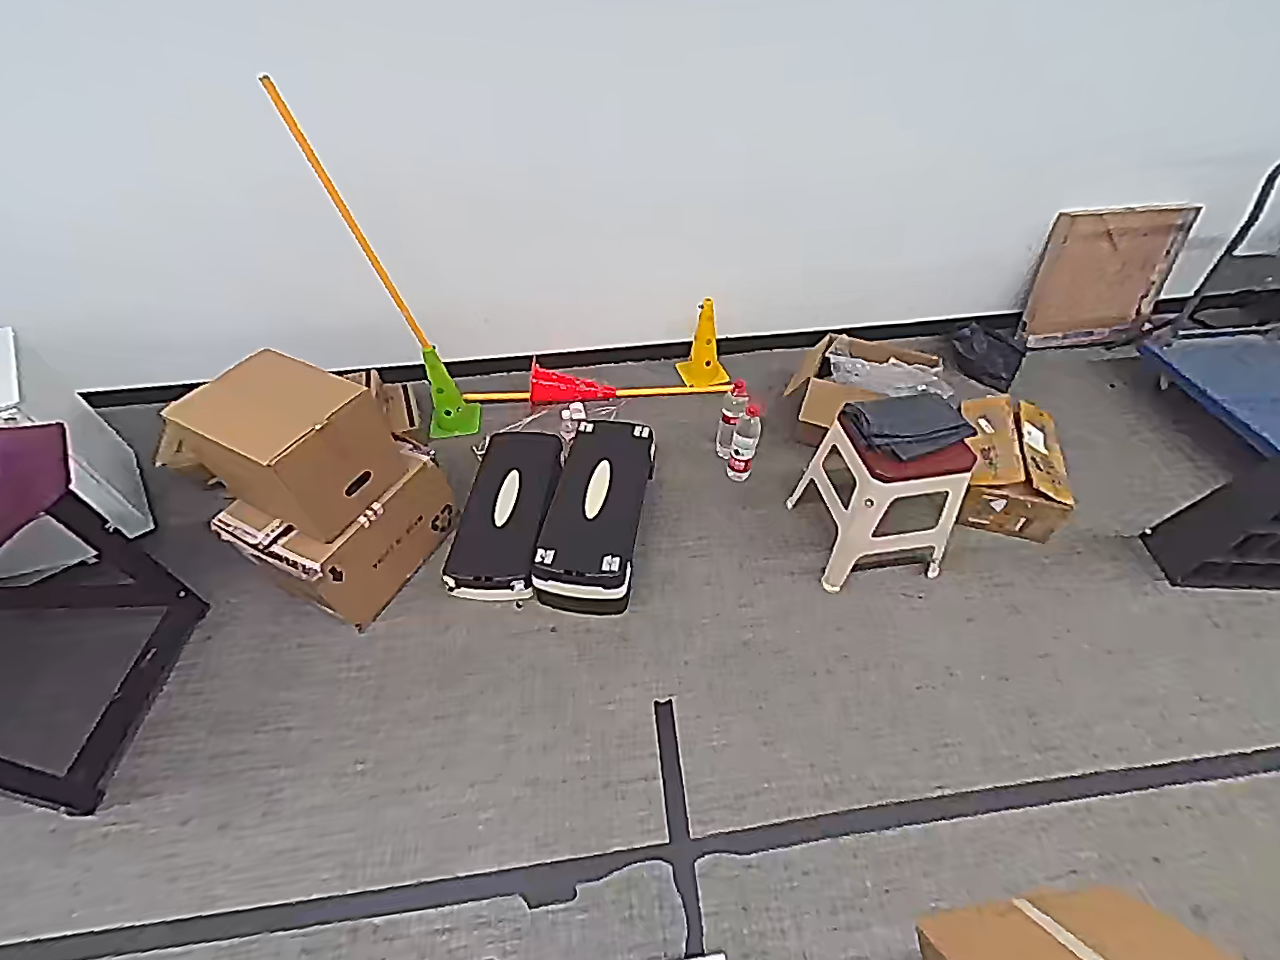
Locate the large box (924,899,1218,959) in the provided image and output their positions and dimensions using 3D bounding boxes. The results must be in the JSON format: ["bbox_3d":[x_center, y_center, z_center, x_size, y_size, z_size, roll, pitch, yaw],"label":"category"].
[{"bbox_3d":[0.579,0.737,0.564,0.320,0.408,0.320,-6,79,-4],"label":"large box"}]
